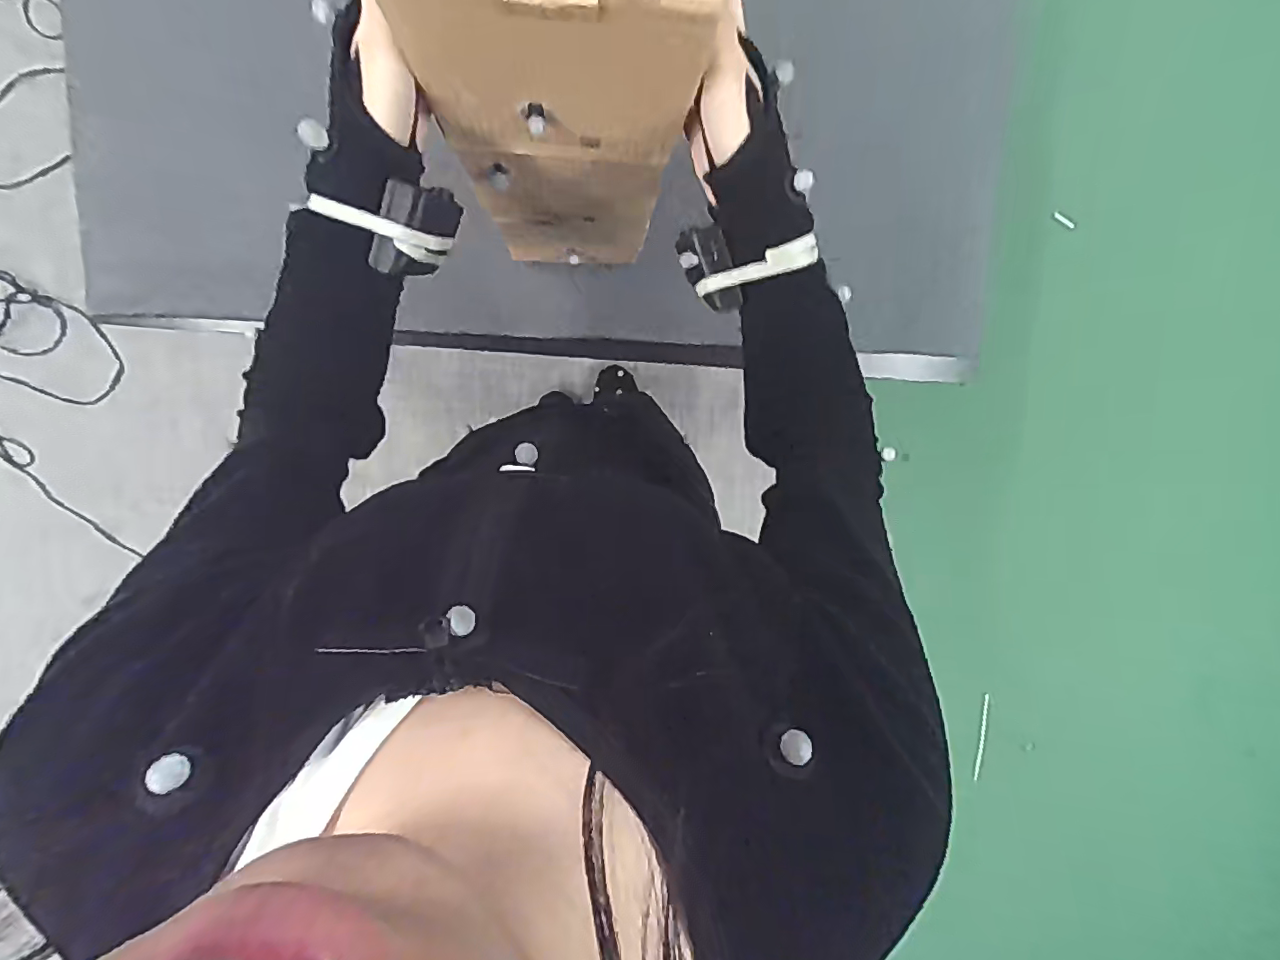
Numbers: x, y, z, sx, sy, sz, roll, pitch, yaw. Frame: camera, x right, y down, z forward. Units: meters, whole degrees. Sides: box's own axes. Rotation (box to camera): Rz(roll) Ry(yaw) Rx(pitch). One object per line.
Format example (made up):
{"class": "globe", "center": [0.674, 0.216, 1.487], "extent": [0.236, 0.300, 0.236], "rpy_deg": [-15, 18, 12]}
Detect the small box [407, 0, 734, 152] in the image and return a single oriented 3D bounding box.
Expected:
{"class": "small box", "center": [-0.042, -0.319, 0.299], "extent": [0.168, 0.176, 0.179], "rpy_deg": [1, 98, -6]}

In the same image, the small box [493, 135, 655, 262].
{"class": "small box", "center": [-0.074, -0.367, 0.621], "extent": [0.168, 0.176, 0.179], "rpy_deg": [-1, 98, -6]}
